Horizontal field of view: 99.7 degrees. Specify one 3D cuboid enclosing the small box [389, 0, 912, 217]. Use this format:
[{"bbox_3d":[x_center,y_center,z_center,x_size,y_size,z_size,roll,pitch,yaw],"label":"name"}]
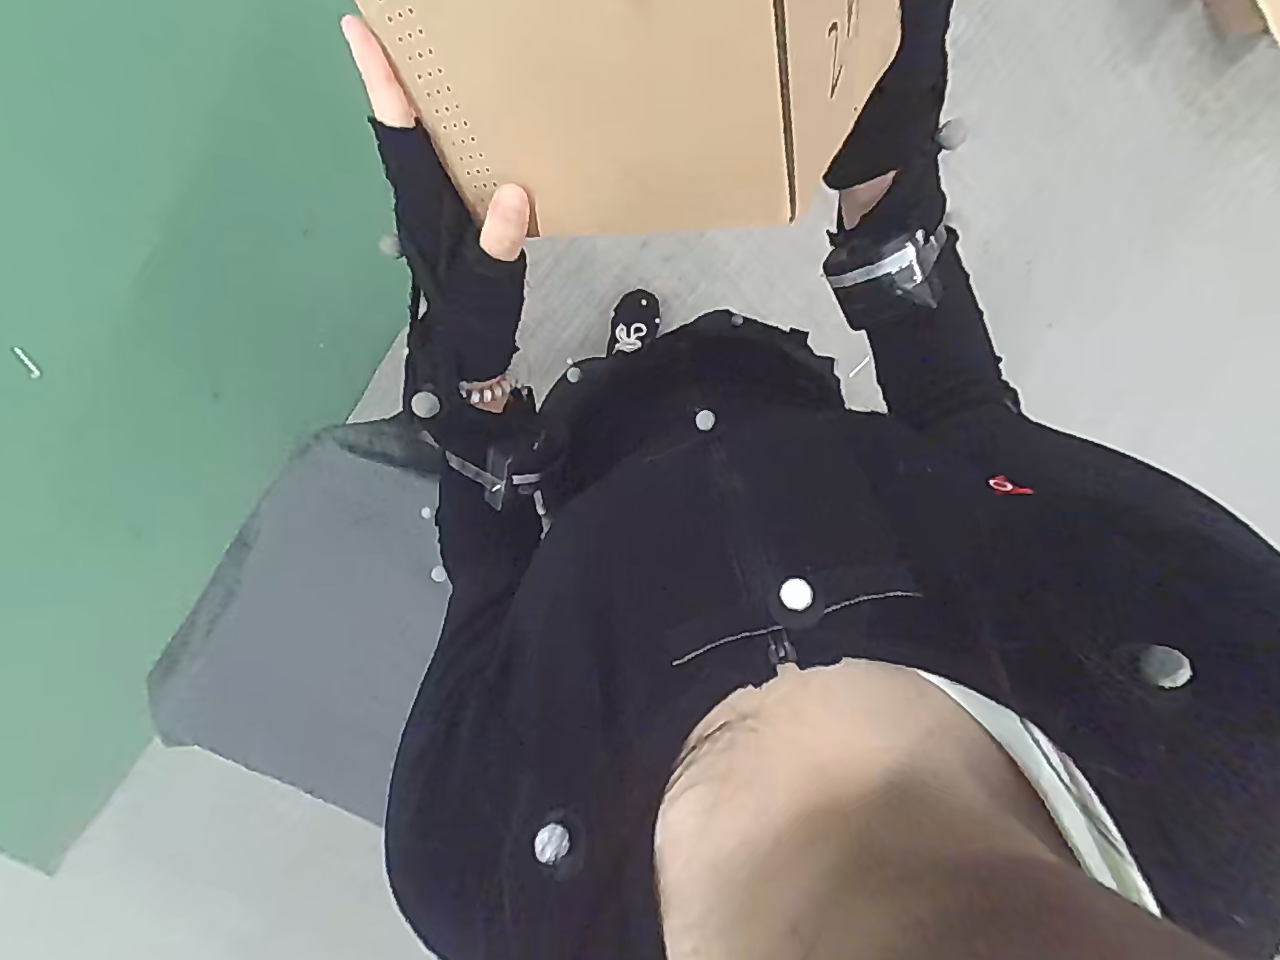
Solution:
[{"bbox_3d":[0.002,-0.228,0.211,0.176,0.168,0.179,13,147,31],"label":"small box"}]
